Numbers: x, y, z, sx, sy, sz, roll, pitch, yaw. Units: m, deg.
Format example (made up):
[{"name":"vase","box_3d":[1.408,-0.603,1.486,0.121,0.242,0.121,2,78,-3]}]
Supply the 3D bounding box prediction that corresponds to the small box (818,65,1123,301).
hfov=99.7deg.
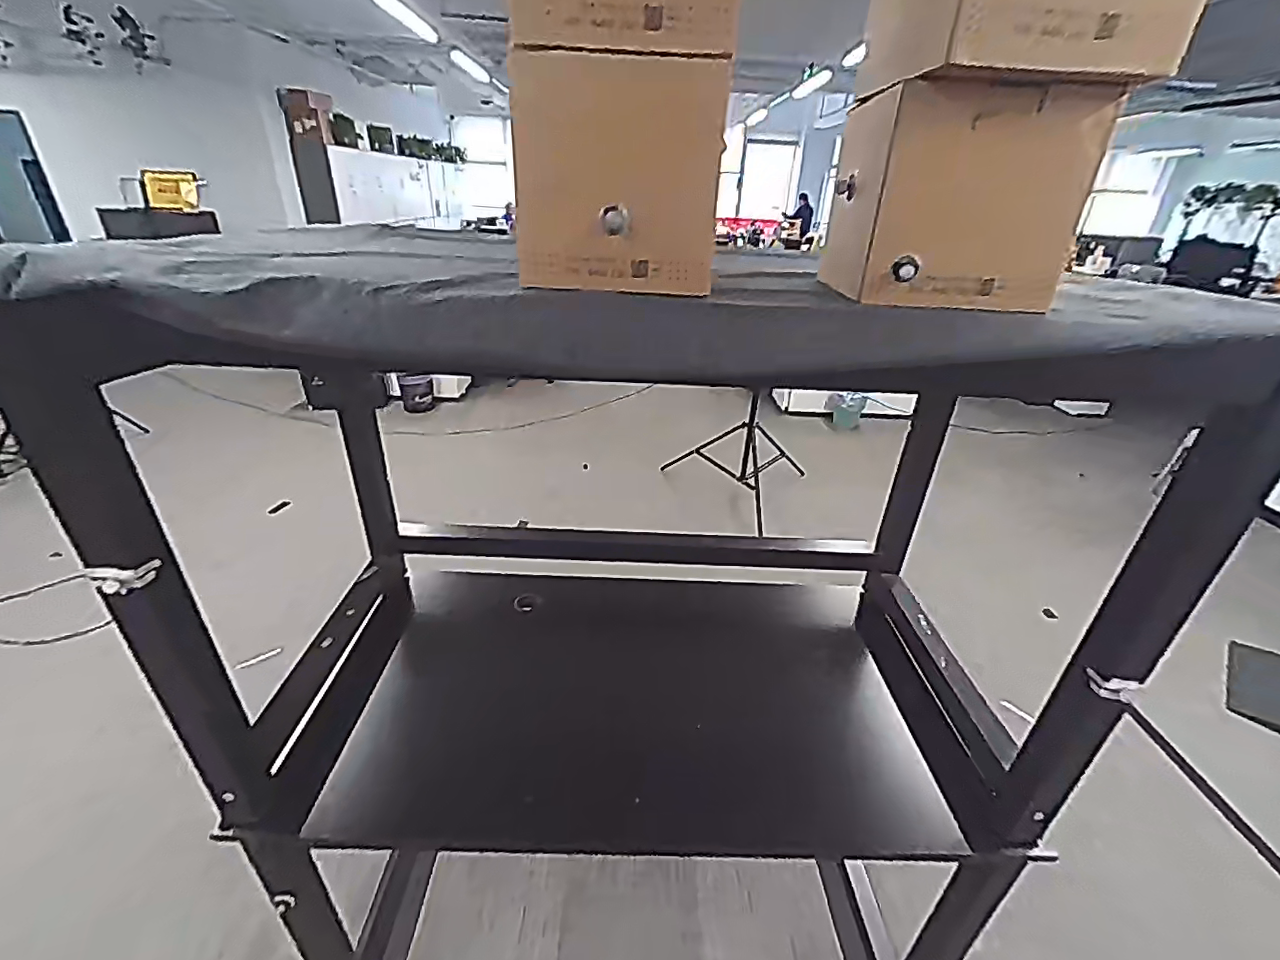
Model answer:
[{"name":"small box","box_3d":[0.280,-0.268,0.511,0.168,0.176,0.179,4,26,2]}]

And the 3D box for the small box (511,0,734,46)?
[{"name":"small box","box_3d":[-0.010,-0.426,0.428,0.168,0.176,0.179,3,26,-1]}]

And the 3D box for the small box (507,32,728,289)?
[{"name":"small box","box_3d":[-0.019,-0.278,0.499,0.168,0.176,0.179,2,26,0]}]

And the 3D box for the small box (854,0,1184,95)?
[{"name":"small box","box_3d":[0.286,-0.398,0.408,0.168,0.176,0.179,2,27,-4]}]
